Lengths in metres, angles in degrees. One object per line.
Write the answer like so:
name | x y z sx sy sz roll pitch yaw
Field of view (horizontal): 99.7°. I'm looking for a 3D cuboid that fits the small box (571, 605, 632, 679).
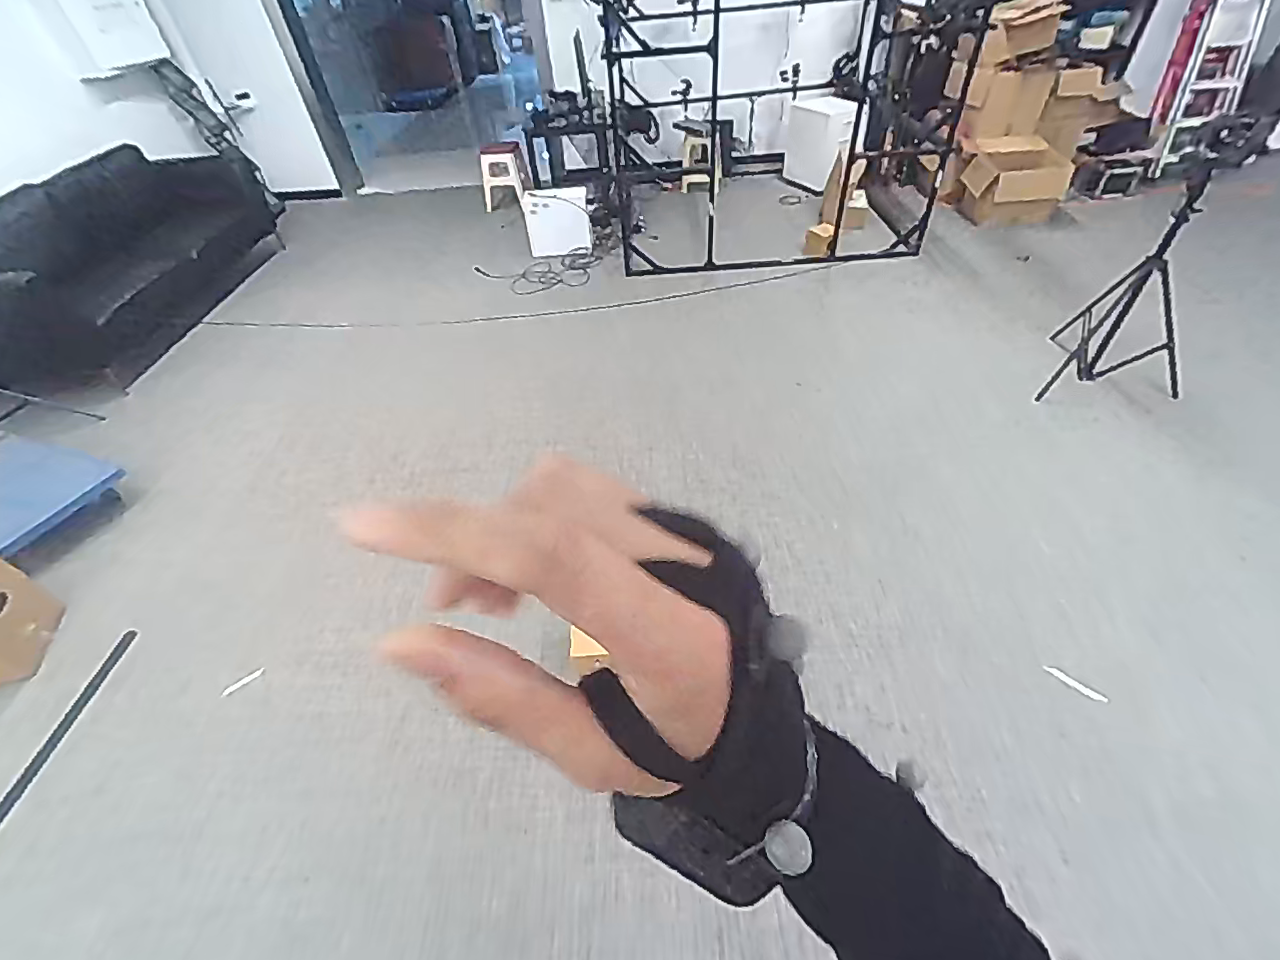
small box | -0.117 0.515 1.715 0.179 0.176 0.168 -5 45 2
